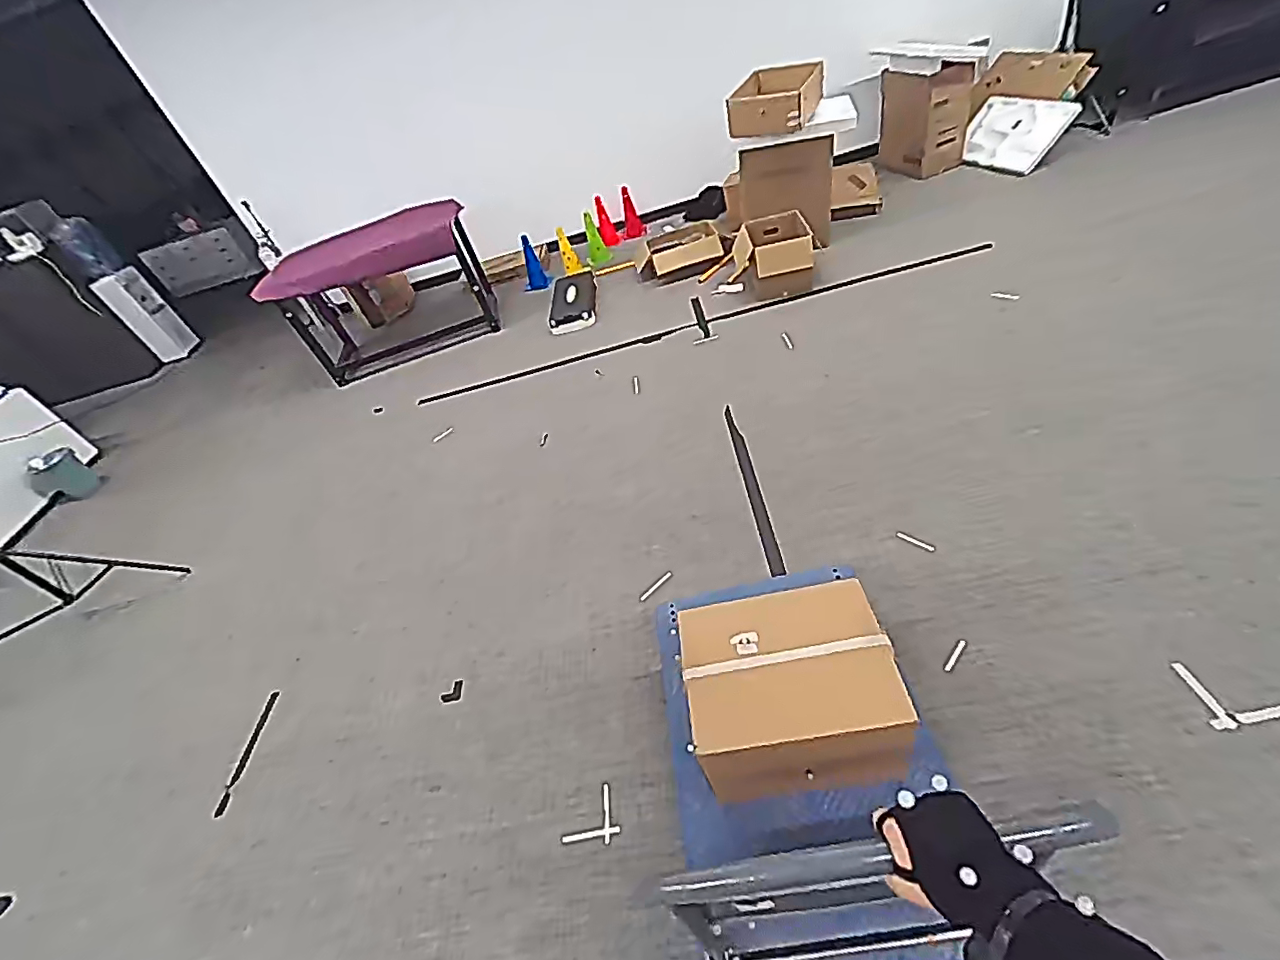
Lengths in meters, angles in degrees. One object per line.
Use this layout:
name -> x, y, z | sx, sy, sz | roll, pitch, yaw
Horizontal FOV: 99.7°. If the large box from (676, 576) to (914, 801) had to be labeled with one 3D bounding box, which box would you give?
large box -> 0.320, 0.458, 1.174 | 0.408, 0.320, 0.320 | -14, 41, 8
